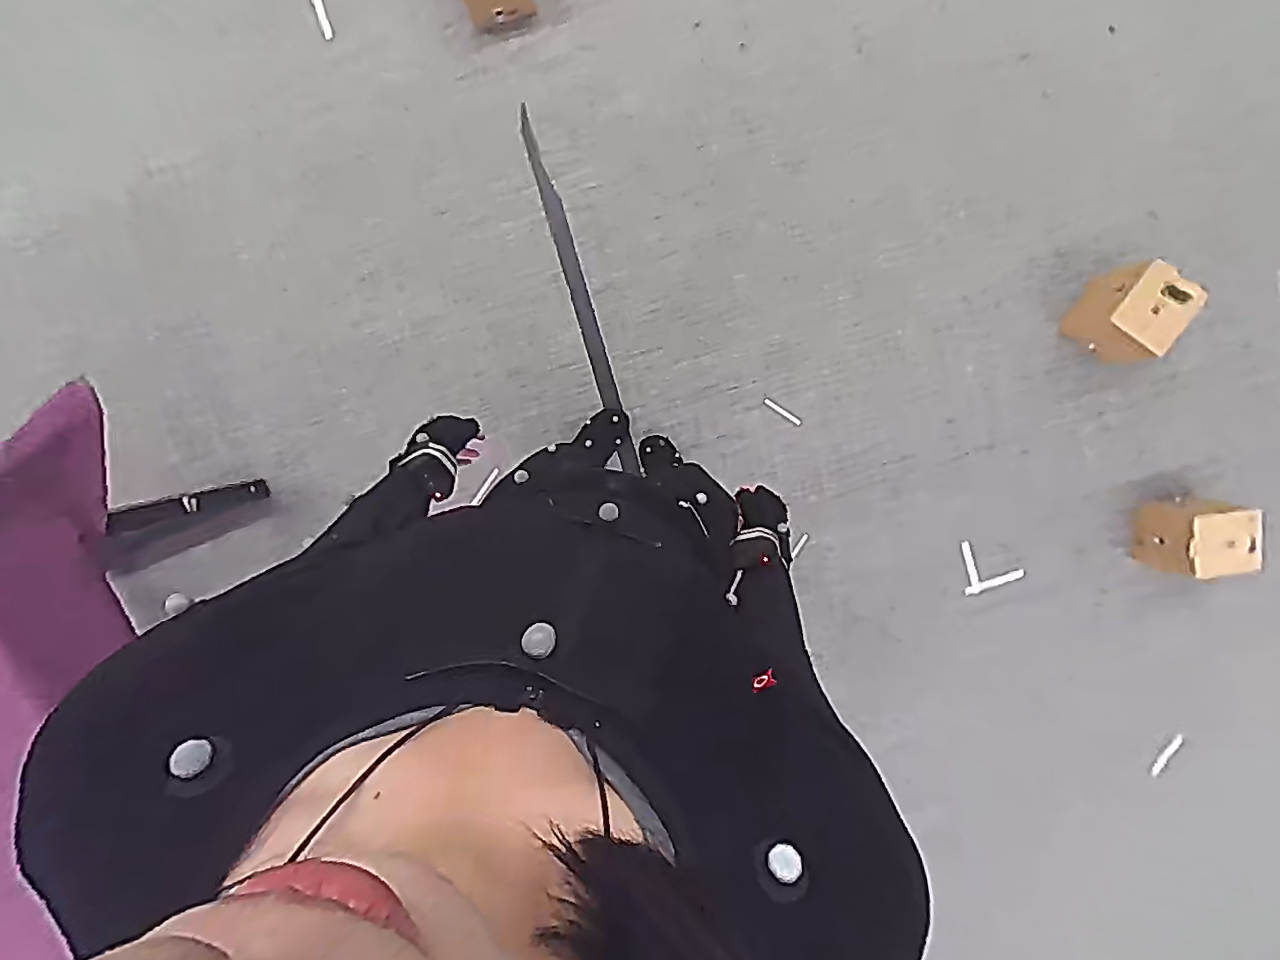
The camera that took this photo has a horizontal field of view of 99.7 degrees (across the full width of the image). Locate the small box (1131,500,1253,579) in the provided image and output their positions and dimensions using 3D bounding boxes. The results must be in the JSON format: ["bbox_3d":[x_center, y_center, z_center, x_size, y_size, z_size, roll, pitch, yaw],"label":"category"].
[{"bbox_3d":[1.488,0.156,1.469,0.179,0.176,0.168,-8,98,2],"label":"small box"}]

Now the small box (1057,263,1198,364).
[{"bbox_3d":[1.236,-0.418,1.387,0.168,0.176,0.179,33,97,-4],"label":"small box"}]

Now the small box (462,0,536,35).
[{"bbox_3d":[-0.357,-1.206,1.264,0.168,0.176,0.179,-17,99,3],"label":"small box"}]
